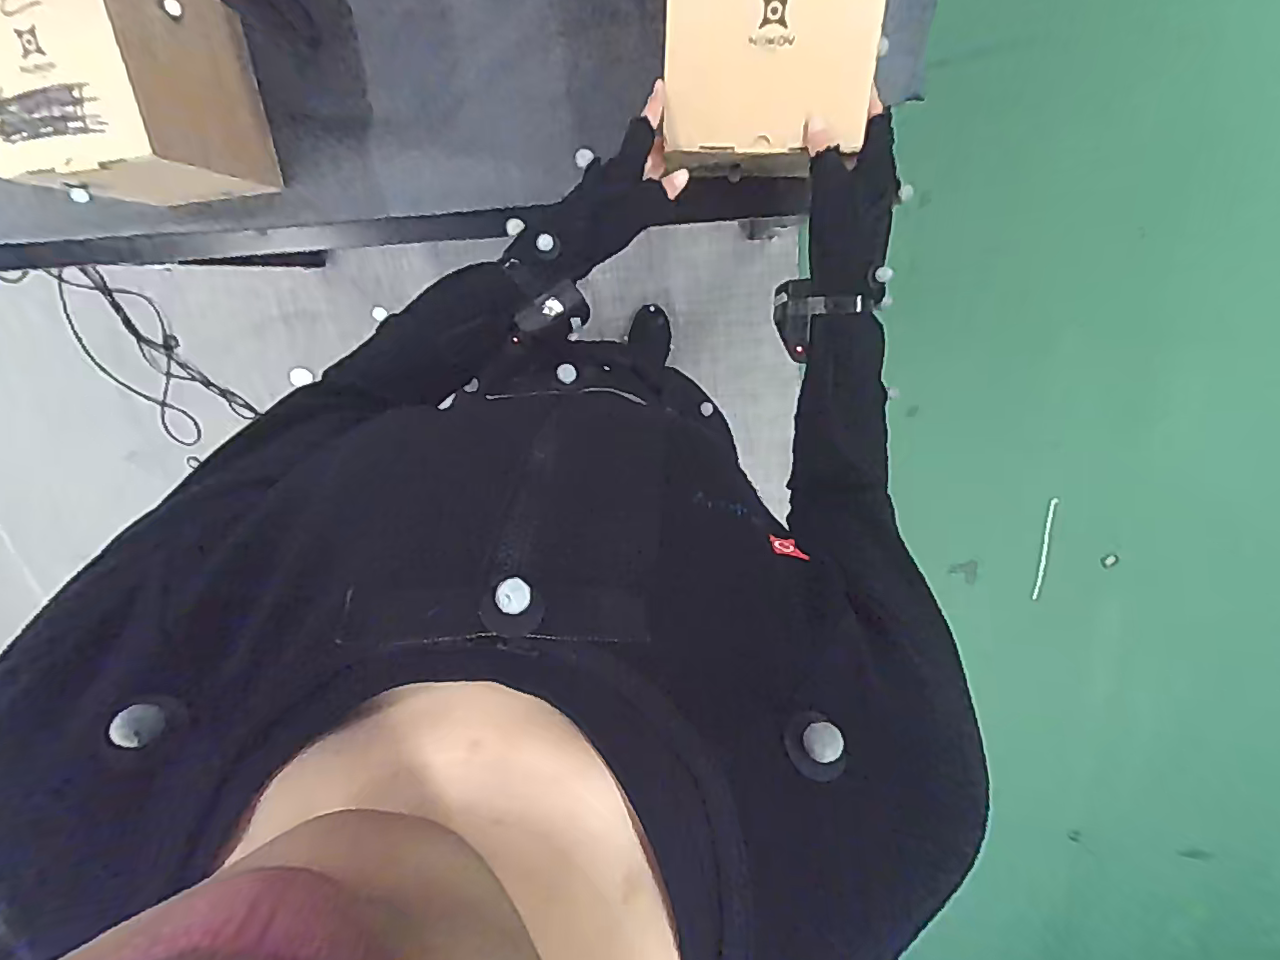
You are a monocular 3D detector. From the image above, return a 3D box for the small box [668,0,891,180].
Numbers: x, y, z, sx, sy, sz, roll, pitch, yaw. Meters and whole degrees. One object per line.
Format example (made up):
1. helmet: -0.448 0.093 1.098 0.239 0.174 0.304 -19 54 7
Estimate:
1. small box: 0.112 -0.382 0.490 0.168 0.176 0.179 3 115 4
